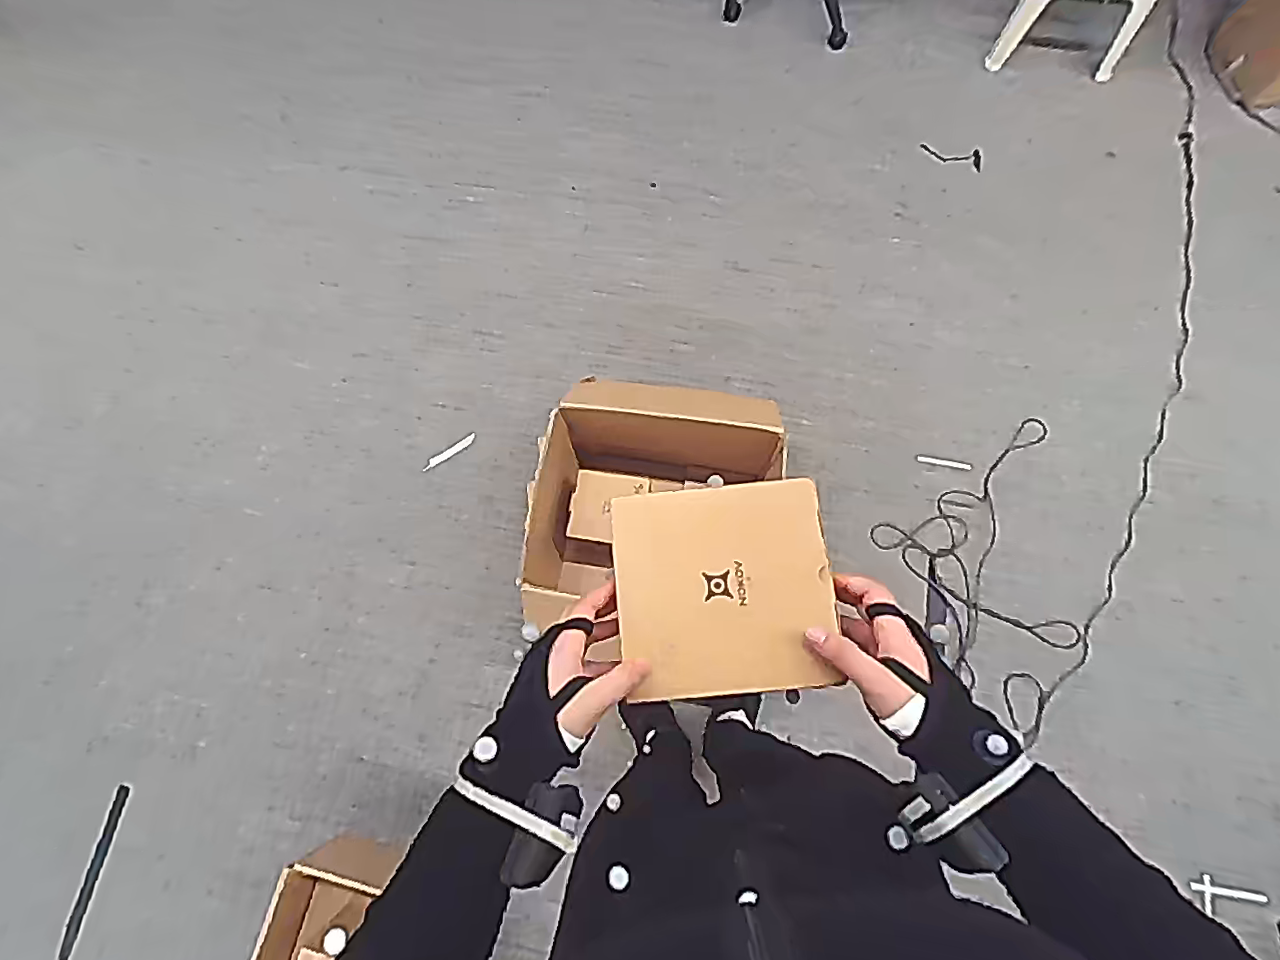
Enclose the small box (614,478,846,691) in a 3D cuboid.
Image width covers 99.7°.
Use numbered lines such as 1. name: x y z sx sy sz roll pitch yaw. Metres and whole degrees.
1. small box: 0.074 0.103 0.522 0.179 0.176 0.168 -5 76 1
